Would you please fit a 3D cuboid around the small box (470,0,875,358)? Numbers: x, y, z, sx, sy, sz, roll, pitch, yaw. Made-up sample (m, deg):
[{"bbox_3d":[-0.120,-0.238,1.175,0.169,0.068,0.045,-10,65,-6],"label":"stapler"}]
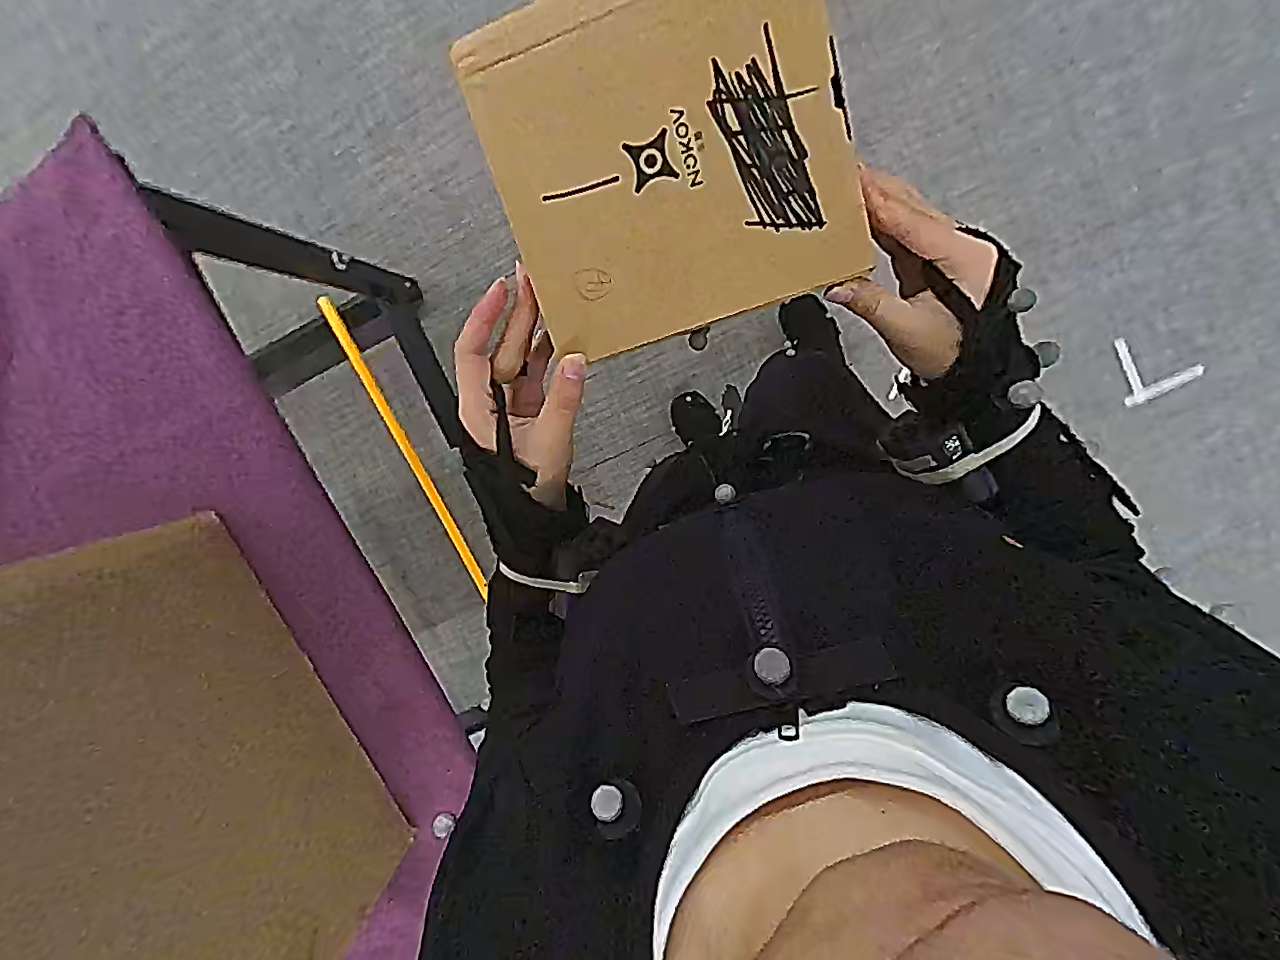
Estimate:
[{"bbox_3d":[0.024,-0.188,0.351,0.179,0.176,0.168,-15,105,9],"label":"small box"}]
